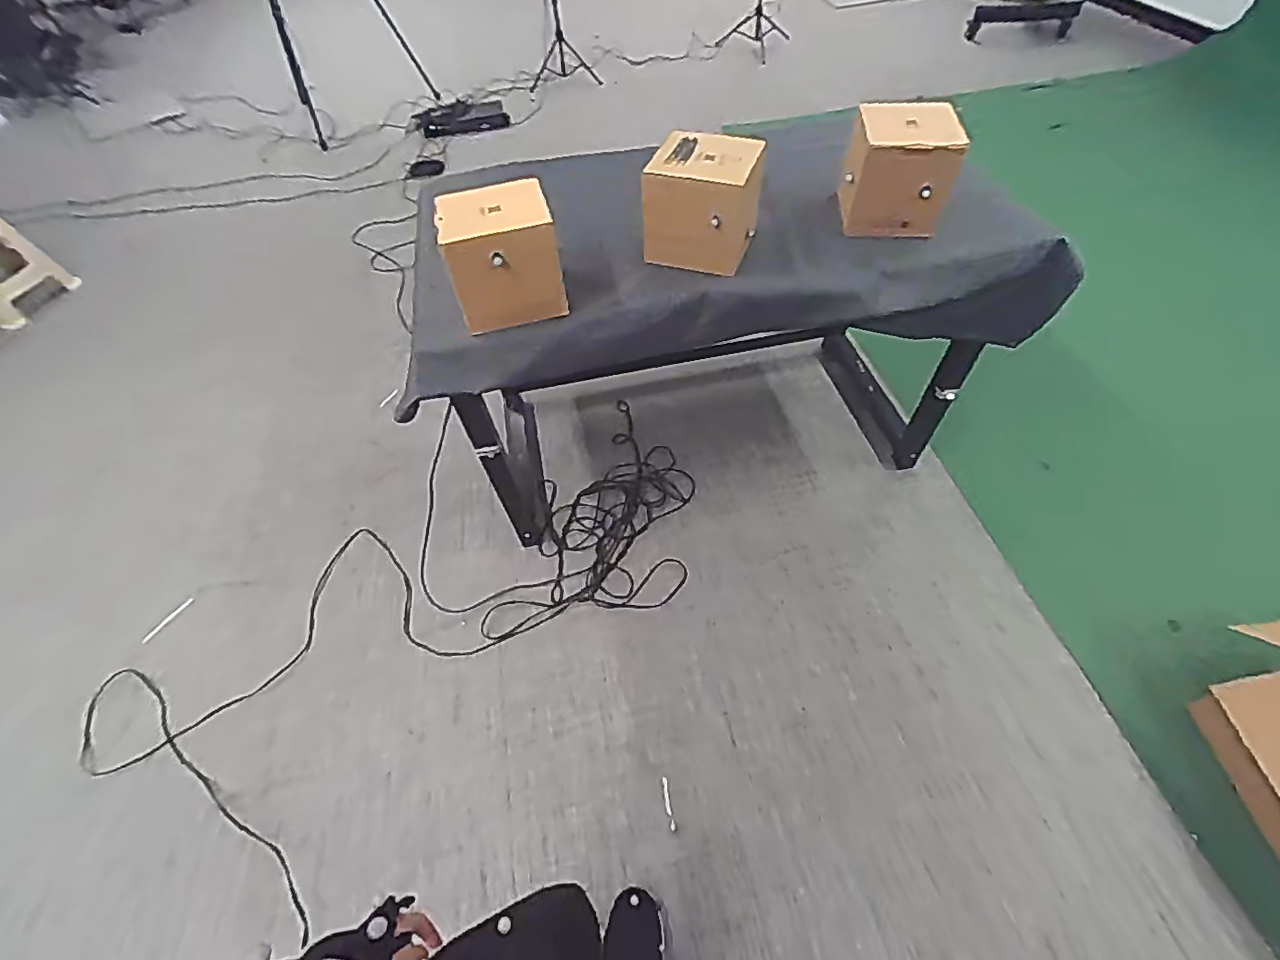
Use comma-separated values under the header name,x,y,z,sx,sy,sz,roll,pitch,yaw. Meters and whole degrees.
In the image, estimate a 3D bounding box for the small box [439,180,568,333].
name,x,y,z,sx,sy,sz,roll,pitch,yaw
small box,-0.227,-0.379,0.924,0.179,0.176,0.168,-15,52,-6

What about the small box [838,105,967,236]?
name,x,y,z,sx,sy,sz,roll,pitch,yaw
small box,0.484,-0.583,1.026,0.168,0.176,0.179,4,53,6
